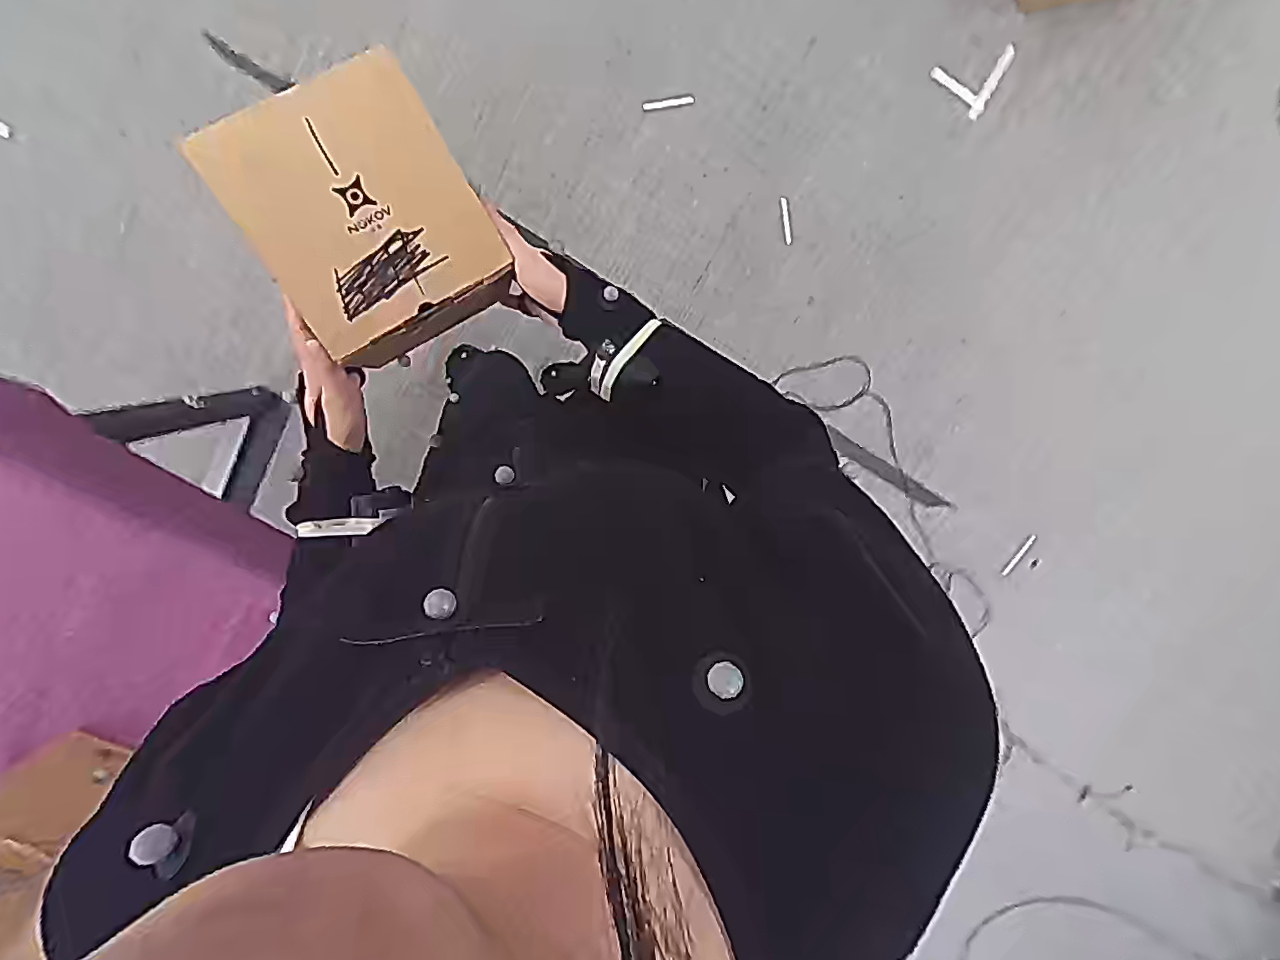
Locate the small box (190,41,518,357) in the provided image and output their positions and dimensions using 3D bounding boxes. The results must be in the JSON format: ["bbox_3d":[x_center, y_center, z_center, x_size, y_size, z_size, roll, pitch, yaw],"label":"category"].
[{"bbox_3d":[-0.226,-0.224,0.484,0.168,0.176,0.179,-32,106,-9],"label":"small box"}]

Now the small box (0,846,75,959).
[{"bbox_3d":[-0.793,0.541,0.592,0.168,0.176,0.179,27,100,-11],"label":"small box"}]

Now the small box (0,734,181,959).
[{"bbox_3d":[-0.798,0.499,0.749,0.168,0.176,0.179,29,100,-12],"label":"small box"}]
